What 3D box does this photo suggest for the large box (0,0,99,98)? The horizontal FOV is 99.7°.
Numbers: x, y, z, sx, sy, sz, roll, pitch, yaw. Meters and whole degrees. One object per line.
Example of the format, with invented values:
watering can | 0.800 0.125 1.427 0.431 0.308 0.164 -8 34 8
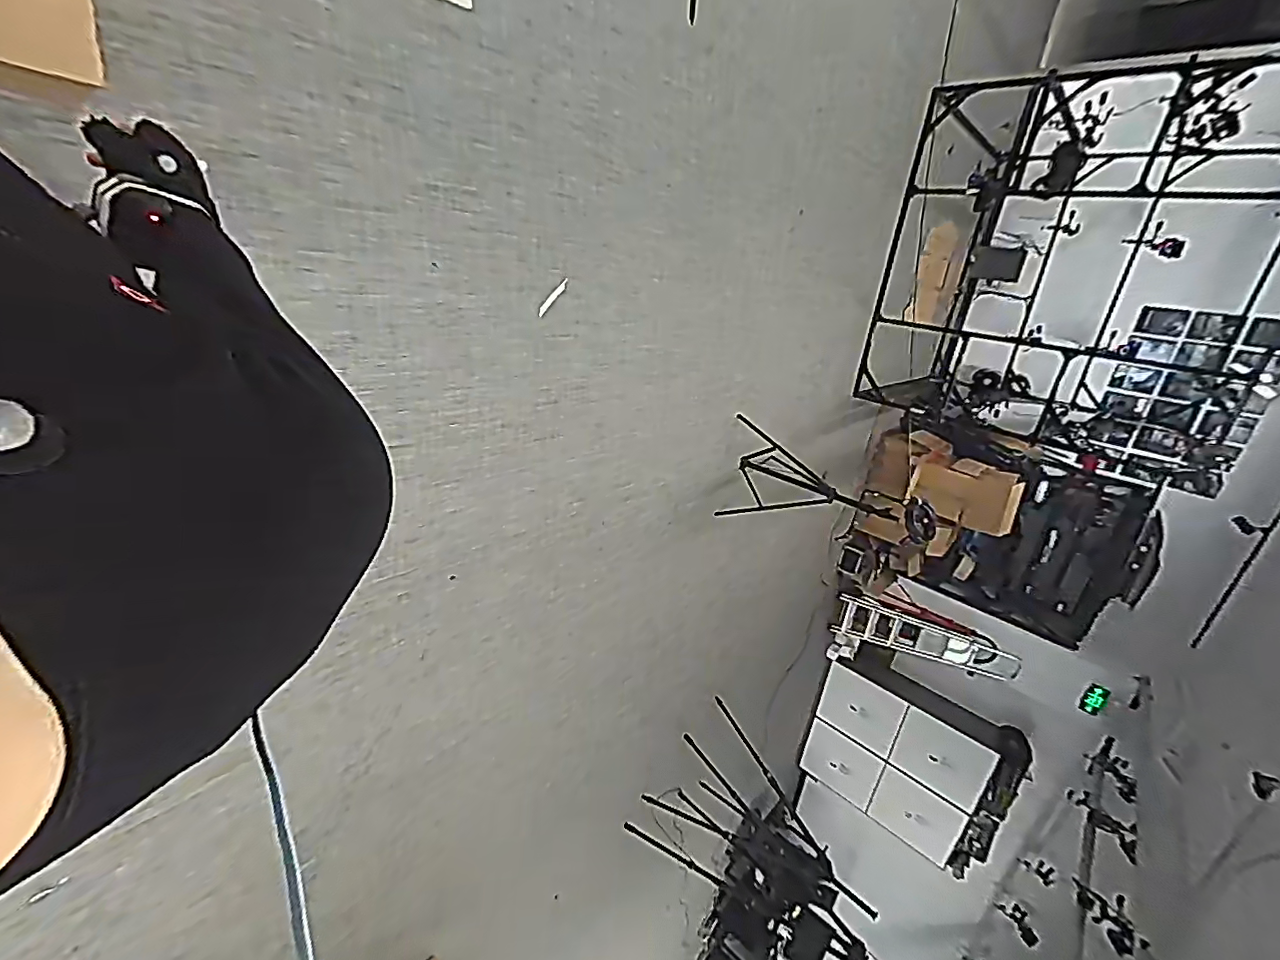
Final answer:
large box | -1.001 -0.725 0.668 0.408 0.320 0.320 -15 121 -47
